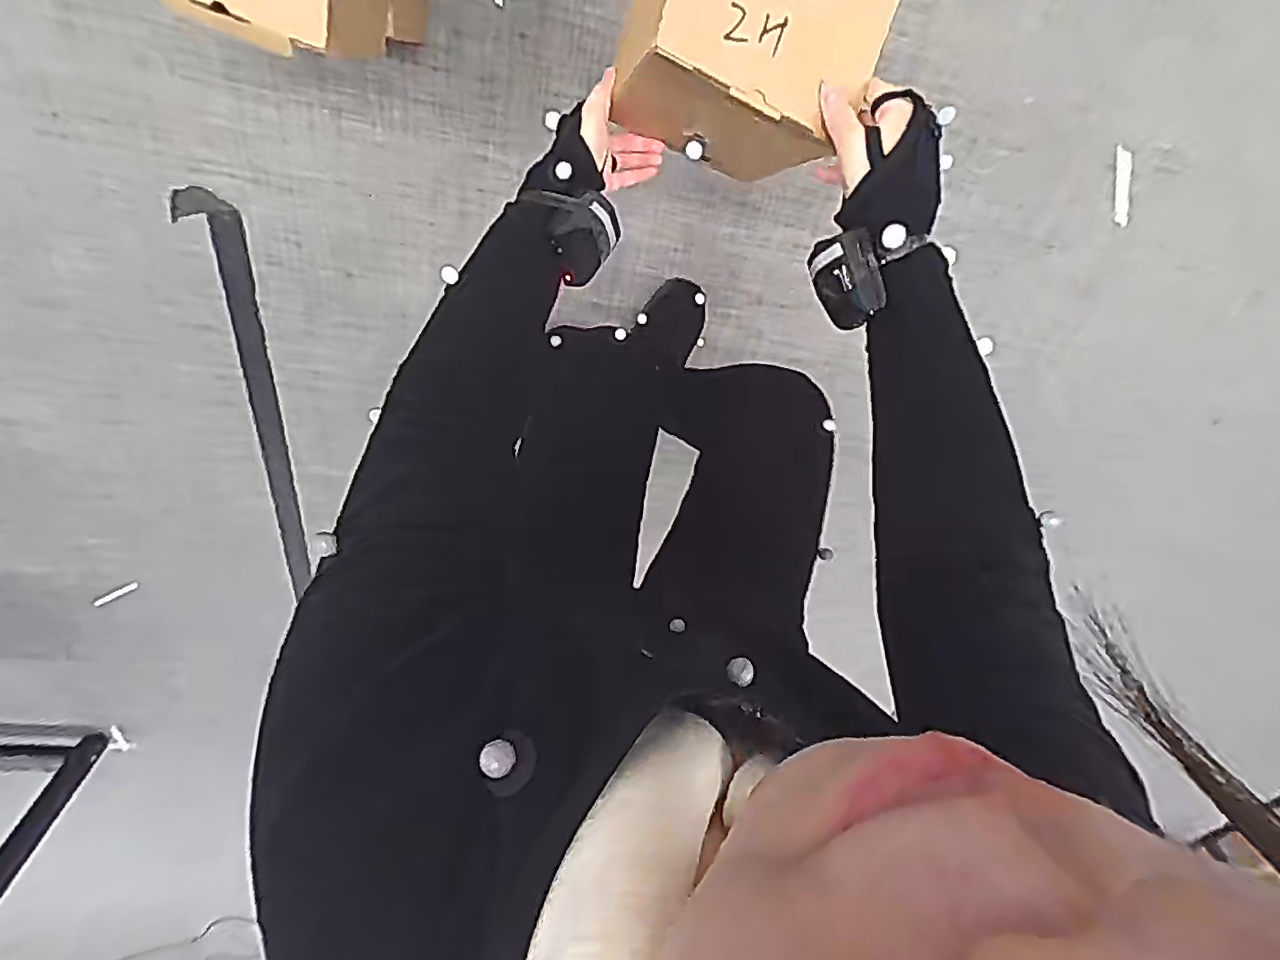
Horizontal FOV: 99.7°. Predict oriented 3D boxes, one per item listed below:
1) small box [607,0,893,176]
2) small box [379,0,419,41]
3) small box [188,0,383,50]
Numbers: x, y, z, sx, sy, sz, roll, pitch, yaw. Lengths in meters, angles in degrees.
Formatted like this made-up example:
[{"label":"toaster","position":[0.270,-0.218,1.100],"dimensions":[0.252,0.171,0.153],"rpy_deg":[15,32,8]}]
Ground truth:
[{"label":"small box","position":[0.084,-0.382,0.442],"dimensions":[0.168,0.176,0.179],"rpy_deg":[13,105,-21]},{"label":"small box","position":[-0.338,-0.598,0.577],"dimensions":[0.179,0.176,0.168],"rpy_deg":[8,126,-13]},{"label":"small box","position":[-0.320,-0.493,0.450],"dimensions":[0.168,0.176,0.179],"rpy_deg":[12,124,-15]}]
